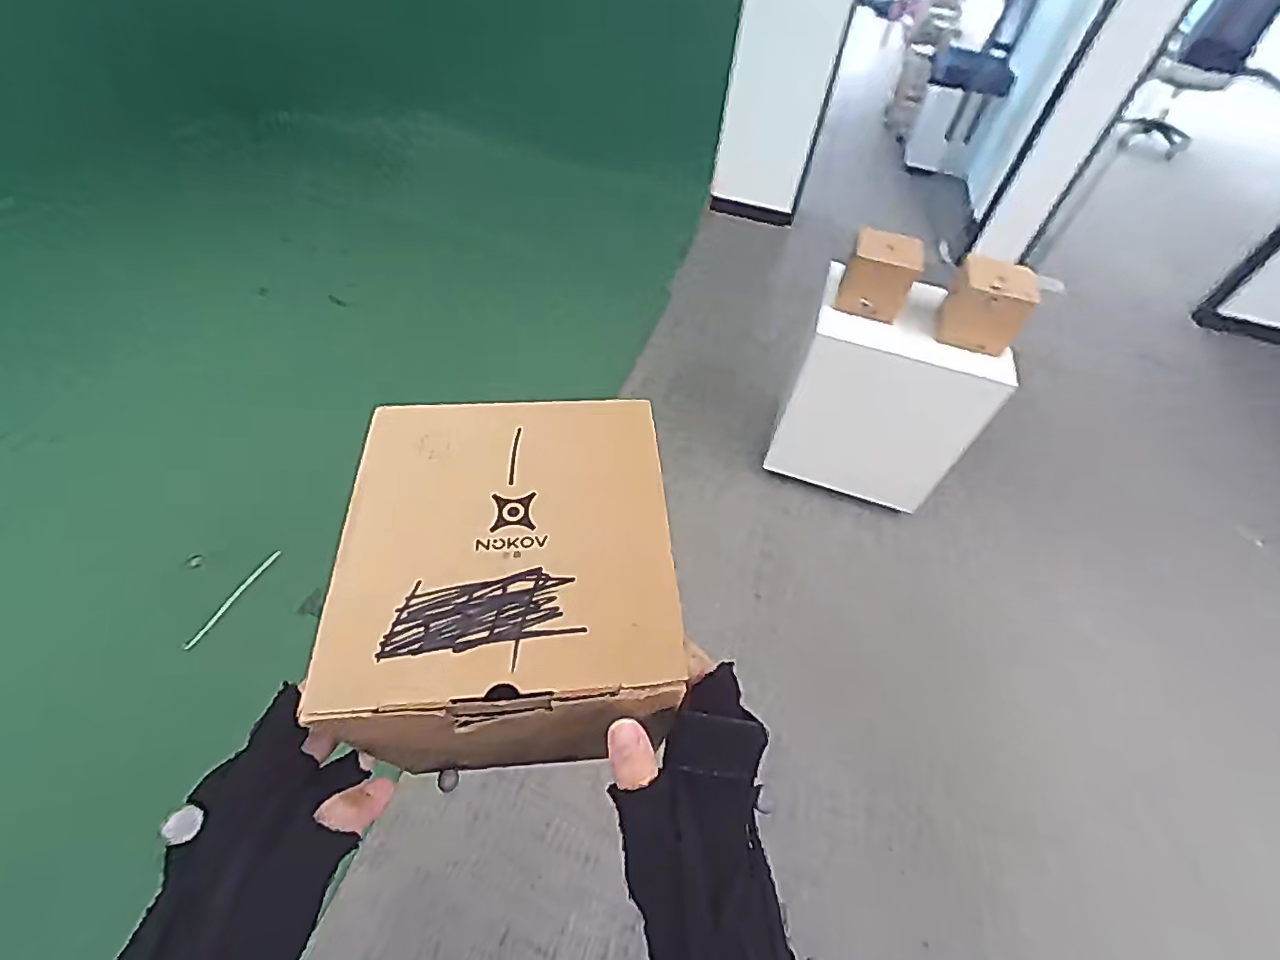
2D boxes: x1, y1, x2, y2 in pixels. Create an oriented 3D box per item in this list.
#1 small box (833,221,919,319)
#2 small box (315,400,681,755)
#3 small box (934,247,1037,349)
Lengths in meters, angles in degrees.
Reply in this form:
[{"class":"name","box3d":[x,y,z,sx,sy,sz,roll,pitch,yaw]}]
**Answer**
[{"class":"small box","box3d":[0.637,-0.569,1.469,0.168,0.176,0.179,15,53,8]},{"class":"small box","box3d":[-0.069,0.070,0.350,0.168,0.176,0.179,-2,55,-5]},{"class":"small box","box3d":[0.892,-0.474,1.413,0.168,0.176,0.179,16,51,9]}]
